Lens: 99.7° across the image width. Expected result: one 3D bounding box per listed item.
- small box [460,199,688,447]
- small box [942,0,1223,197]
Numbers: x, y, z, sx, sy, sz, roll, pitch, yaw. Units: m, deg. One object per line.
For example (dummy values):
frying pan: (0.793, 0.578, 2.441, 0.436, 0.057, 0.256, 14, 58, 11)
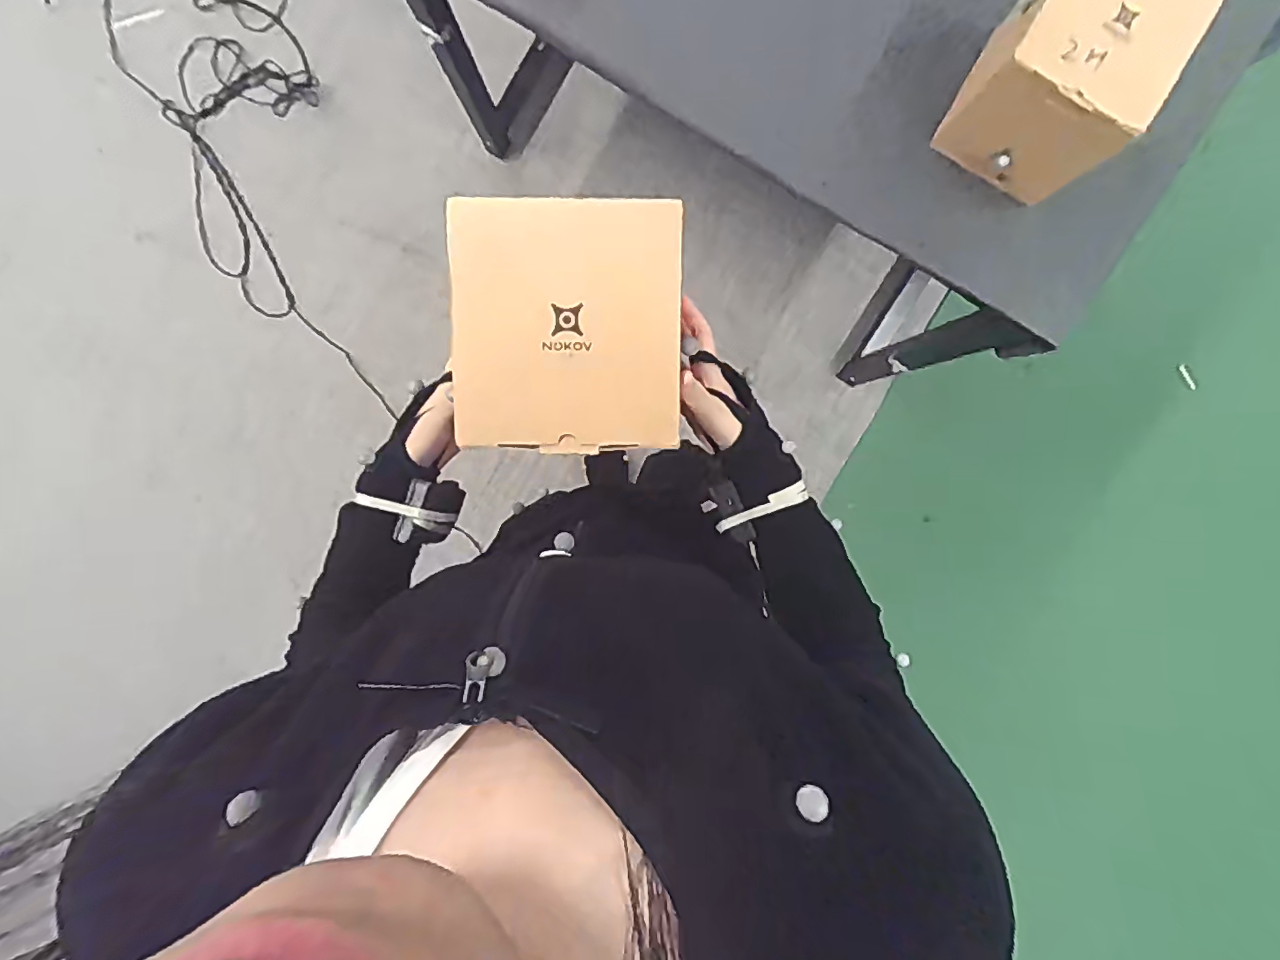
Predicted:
small box: (-0.050, -0.122, 0.474, 0.168, 0.176, 0.179, 0, 98, -1)
small box: (0.506, -0.487, 0.647, 0.168, 0.176, 0.179, 29, 93, 0)
